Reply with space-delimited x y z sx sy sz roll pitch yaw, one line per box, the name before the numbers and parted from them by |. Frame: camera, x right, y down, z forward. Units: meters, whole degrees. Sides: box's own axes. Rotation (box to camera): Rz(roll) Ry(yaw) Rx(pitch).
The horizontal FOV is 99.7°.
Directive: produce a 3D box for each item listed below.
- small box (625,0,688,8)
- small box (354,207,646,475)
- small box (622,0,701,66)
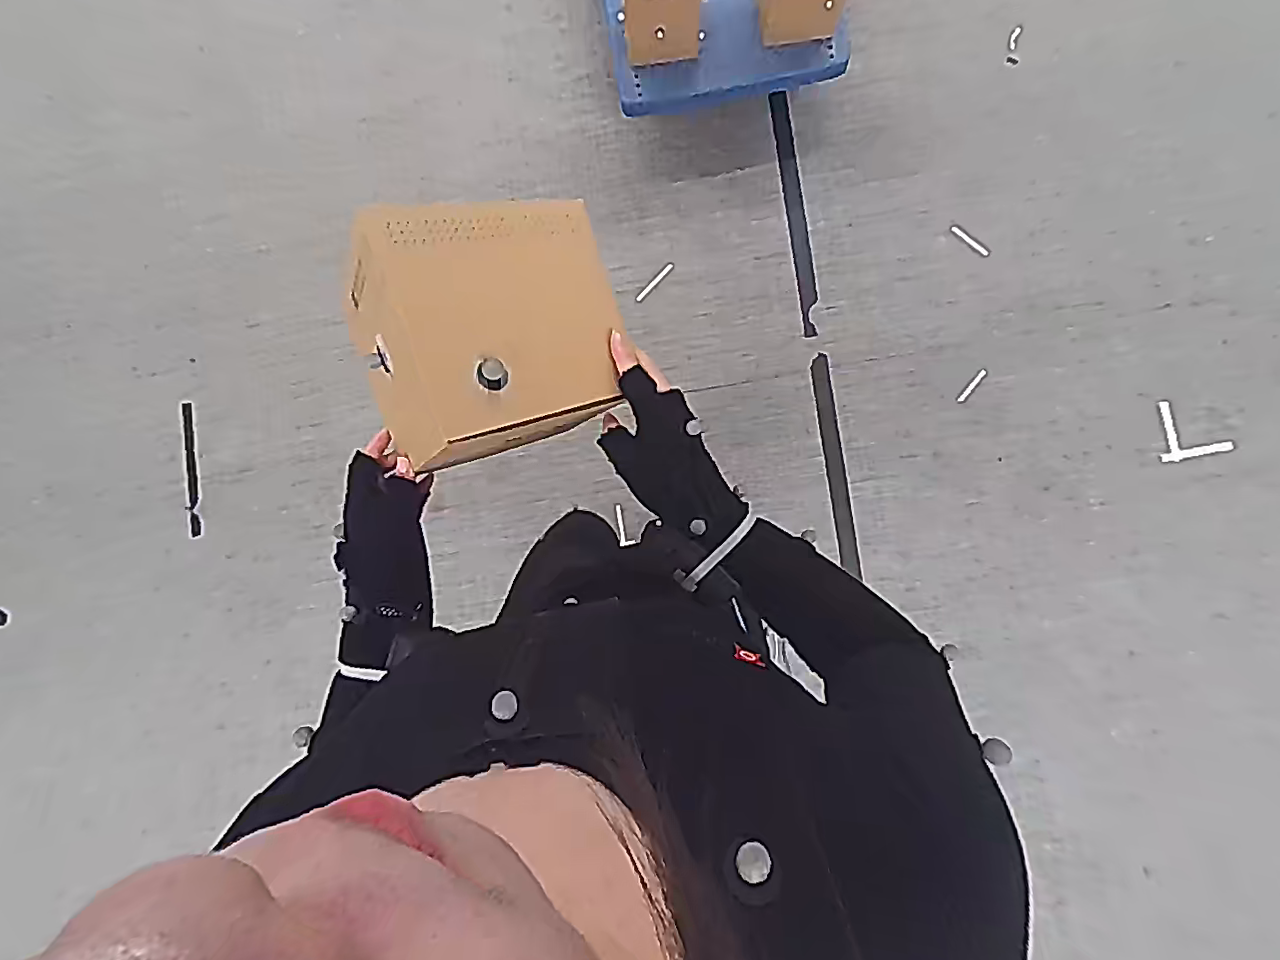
small box | 0.032 -1.133 1.109 0.168 0.176 0.179 -7 86 4
small box | -0.129 -0.117 0.473 0.179 0.168 0.176 -21 95 -33
small box | 0.048 -1.125 1.272 0.179 0.176 0.168 -4 87 5
